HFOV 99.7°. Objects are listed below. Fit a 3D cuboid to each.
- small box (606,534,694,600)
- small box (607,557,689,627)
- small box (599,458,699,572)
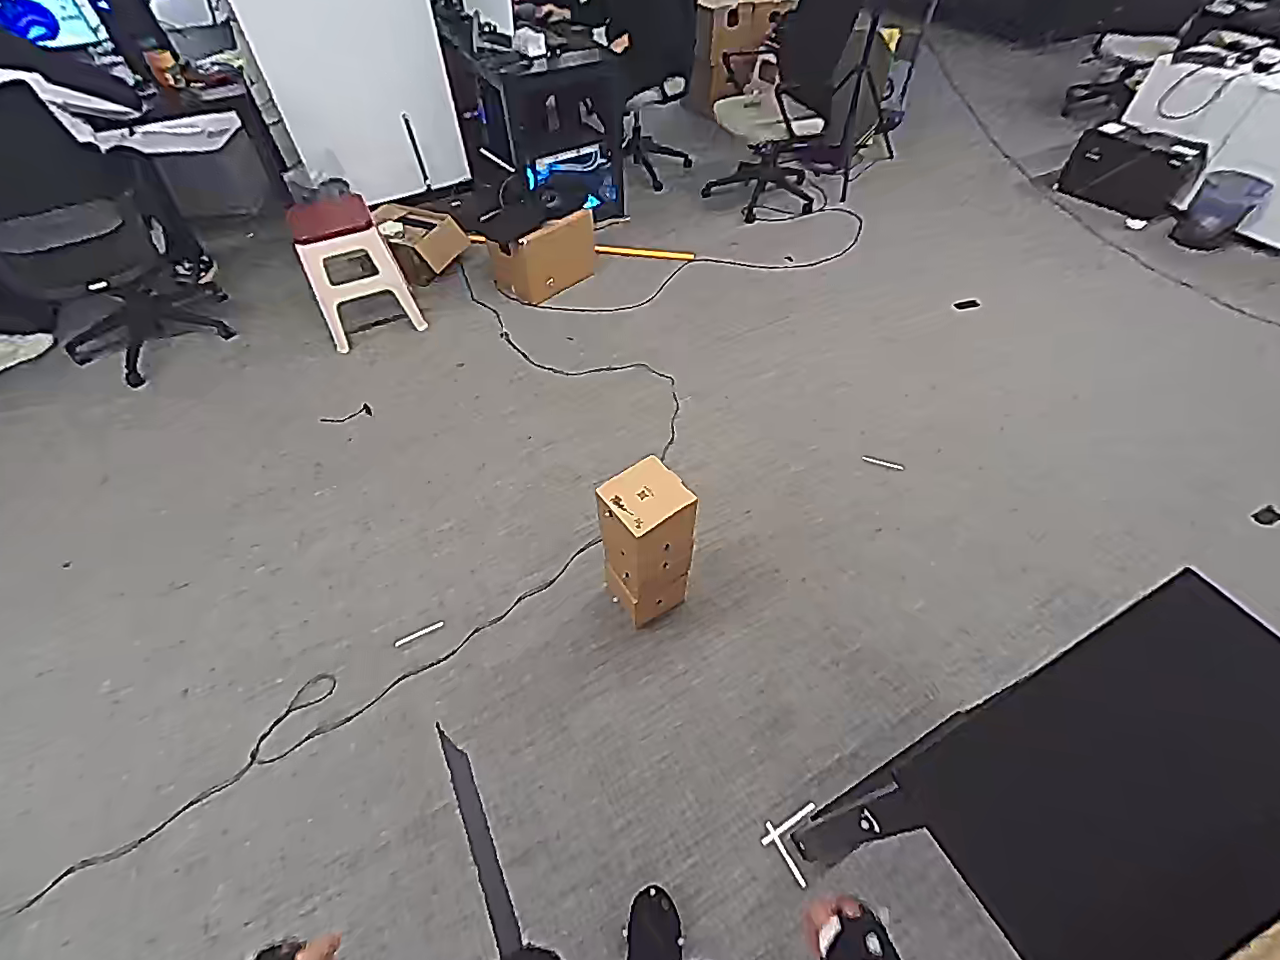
[{"bbox_3d":[0.024,0.185,1.425,0.179,0.176,0.168,-28,58,-22],"label":"small box"},{"bbox_3d":[0.021,0.289,1.549,0.179,0.176,0.168,-27,56,-18],"label":"small box"},{"bbox_3d":[0.018,0.085,1.293,0.179,0.176,0.168,-30,57,-22],"label":"small box"}]
